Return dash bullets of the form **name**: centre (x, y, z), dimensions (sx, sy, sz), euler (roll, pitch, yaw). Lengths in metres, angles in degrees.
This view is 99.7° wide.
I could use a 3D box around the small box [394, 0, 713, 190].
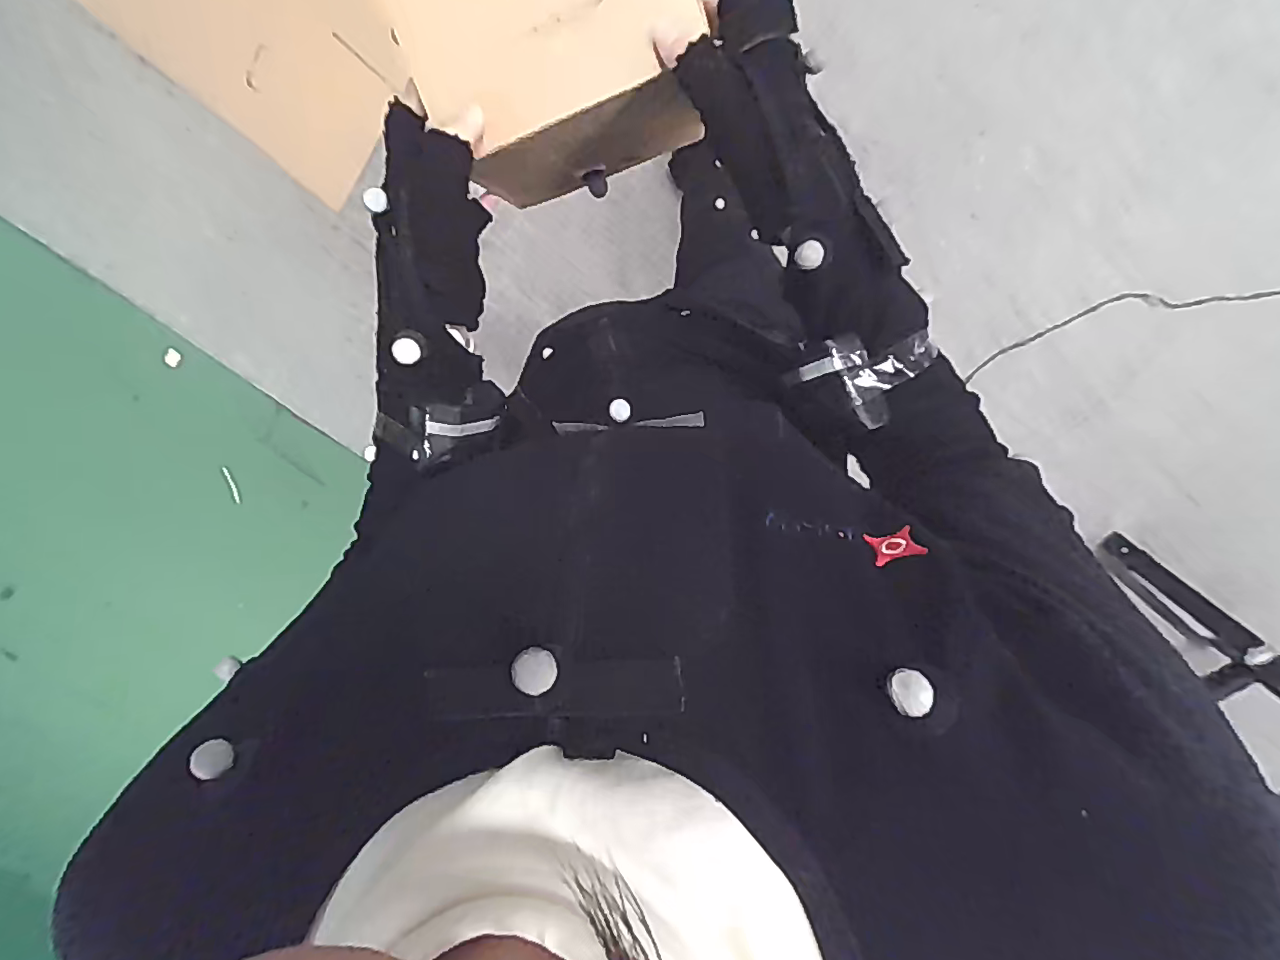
- **small box**: centre (-0.058, -0.325, 0.359), dimensions (0.168, 0.176, 0.179), euler (-18, 107, 11)
